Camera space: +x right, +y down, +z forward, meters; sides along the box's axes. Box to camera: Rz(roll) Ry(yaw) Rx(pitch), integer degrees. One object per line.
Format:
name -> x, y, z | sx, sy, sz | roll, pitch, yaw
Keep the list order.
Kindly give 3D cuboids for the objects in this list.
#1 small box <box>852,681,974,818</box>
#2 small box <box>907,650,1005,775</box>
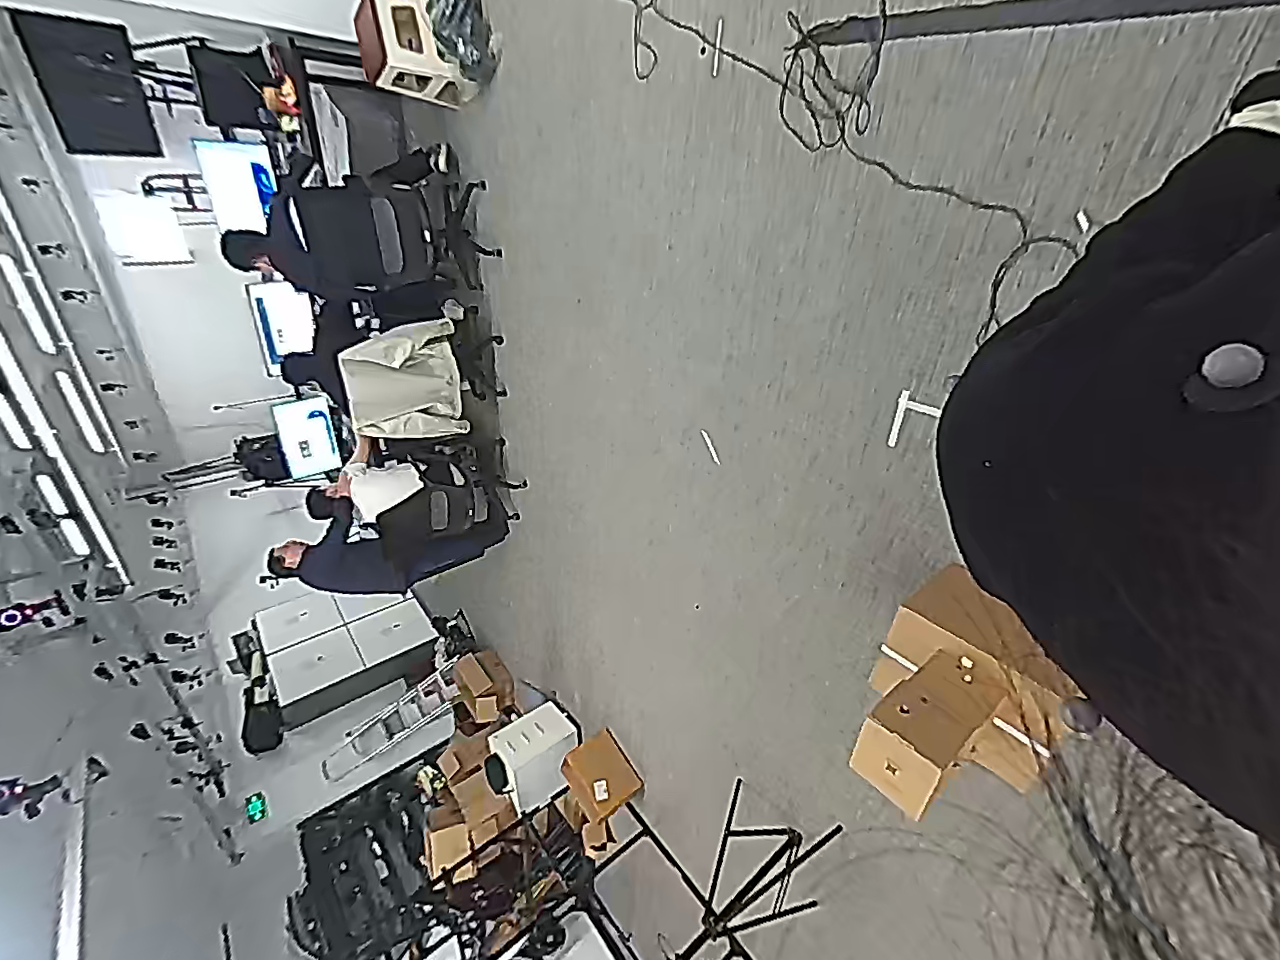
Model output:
small box -> 0.601, 0.582, 1.190 | 0.168, 0.176, 0.179 | 32, 130, 43
small box -> 0.729, 0.544, 1.284 | 0.168, 0.176, 0.179 | 32, 129, 41
